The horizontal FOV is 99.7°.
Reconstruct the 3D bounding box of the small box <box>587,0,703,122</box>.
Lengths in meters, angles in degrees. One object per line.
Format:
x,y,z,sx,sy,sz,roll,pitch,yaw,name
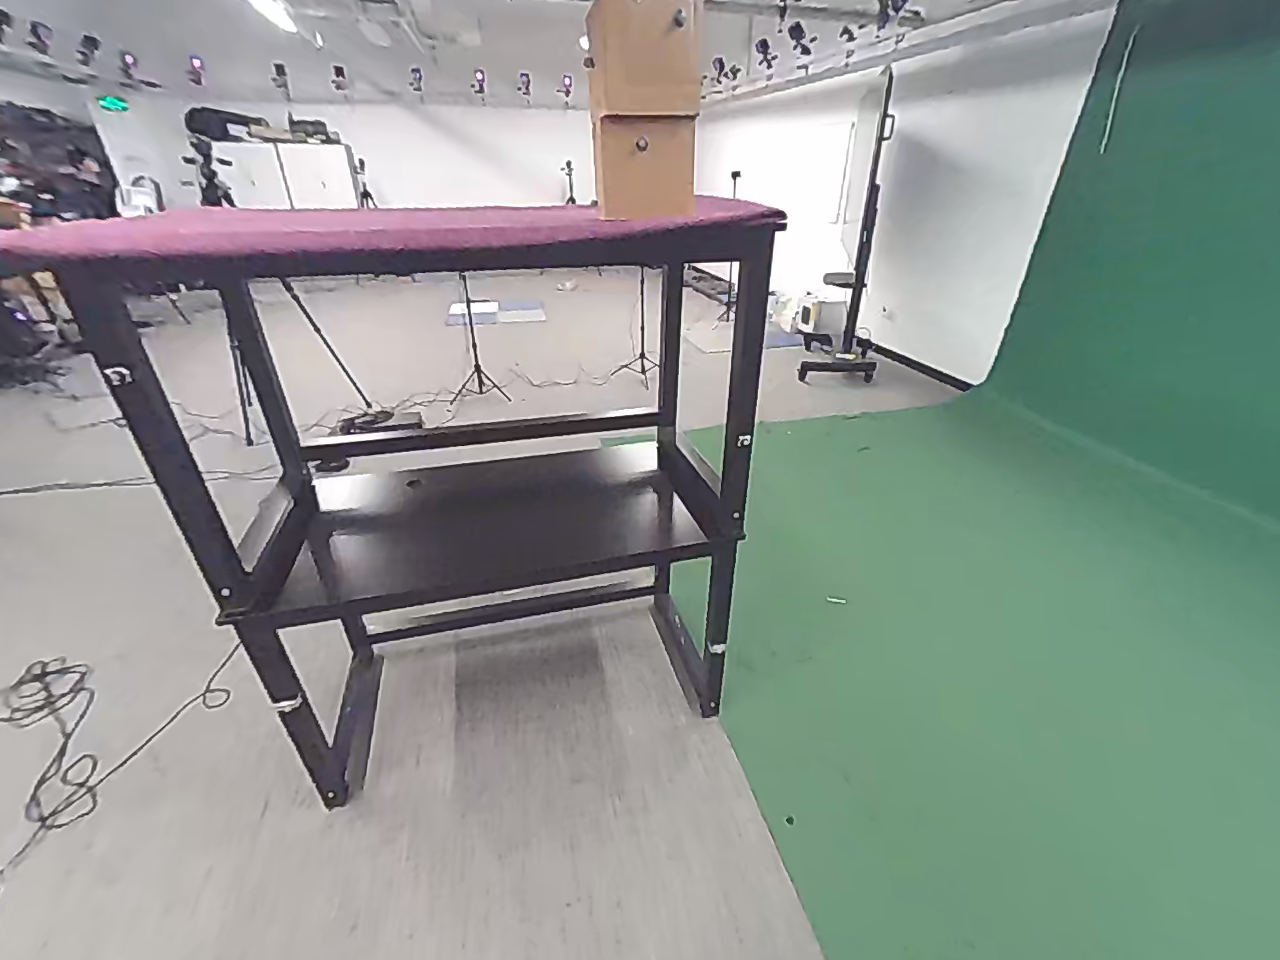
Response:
0.006,-0.738,0.971,0.179,0.176,0.168,-7,29,-11,small box

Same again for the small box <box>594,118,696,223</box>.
0.007,-0.602,1.062,0.179,0.176,0.168,-5,29,-8,small box
